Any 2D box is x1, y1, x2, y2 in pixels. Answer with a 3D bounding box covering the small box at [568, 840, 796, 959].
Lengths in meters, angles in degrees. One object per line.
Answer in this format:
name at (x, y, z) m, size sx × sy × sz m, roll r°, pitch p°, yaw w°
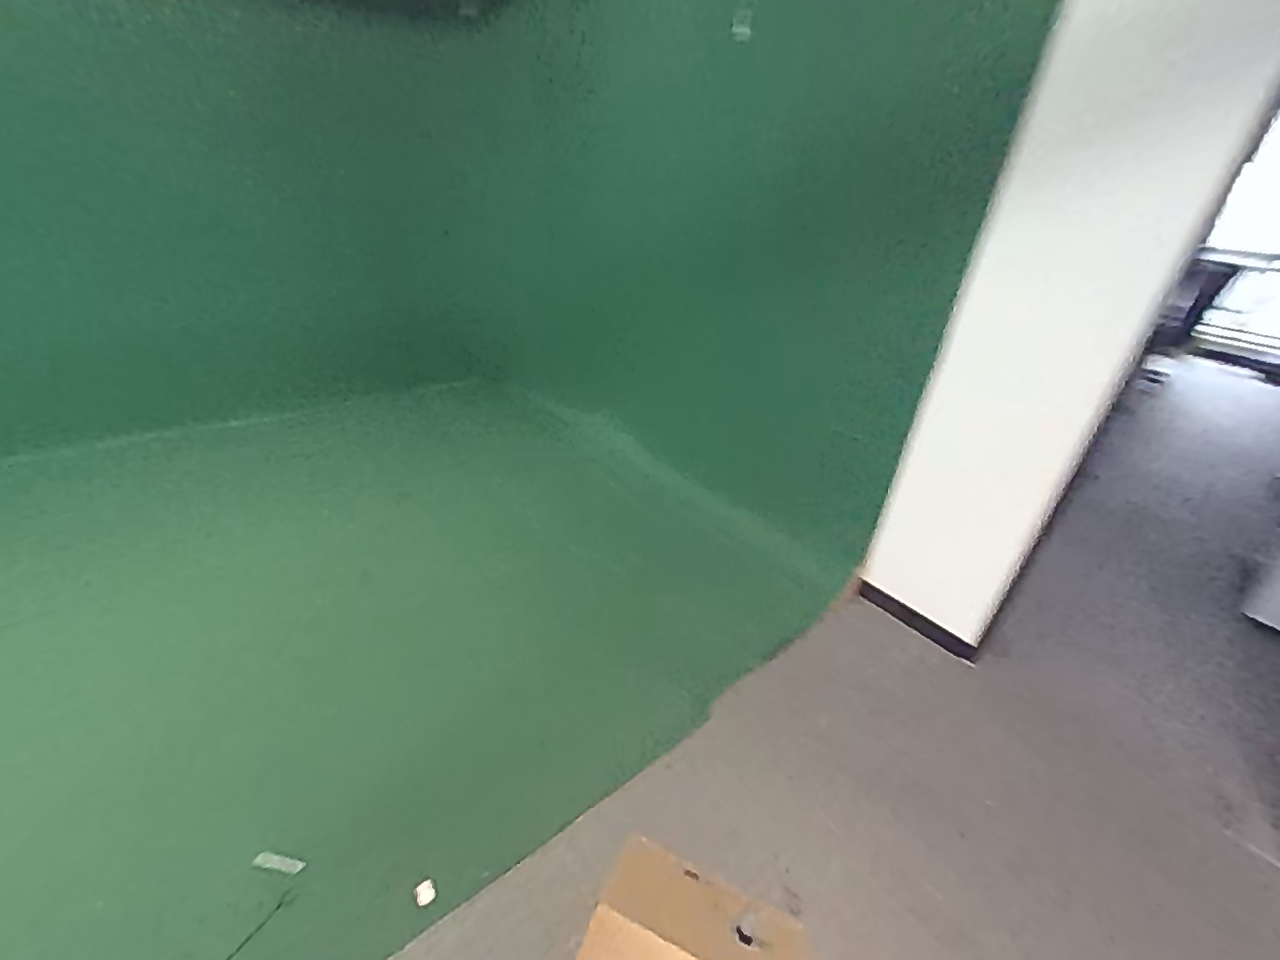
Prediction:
small box at (0.016, 0.406, 0.392) m, size 0.168 × 0.176 × 0.179 m, roll 21°, pitch 76°, yaw 13°
